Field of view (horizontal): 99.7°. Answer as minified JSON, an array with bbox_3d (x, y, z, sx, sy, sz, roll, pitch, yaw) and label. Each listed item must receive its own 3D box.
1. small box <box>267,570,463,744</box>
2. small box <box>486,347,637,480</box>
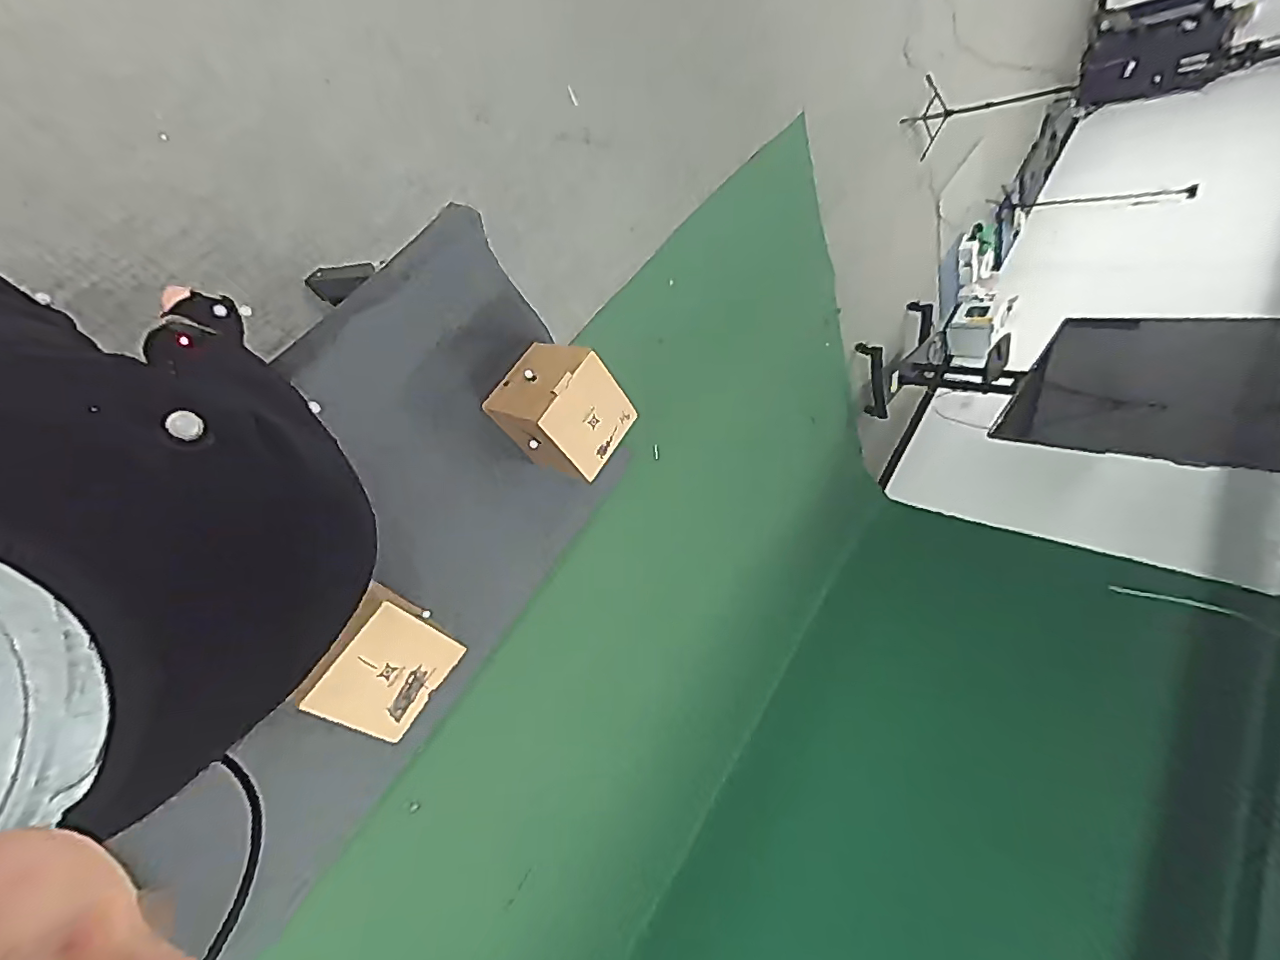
[{"bbox_3d":[-0.415,0.260,0.822,0.168,0.176,0.179,-55,135,-20],"label":"small box"},{"bbox_3d":[-0.145,-0.126,0.988,0.168,0.176,0.179,-56,136,-18],"label":"small box"}]
